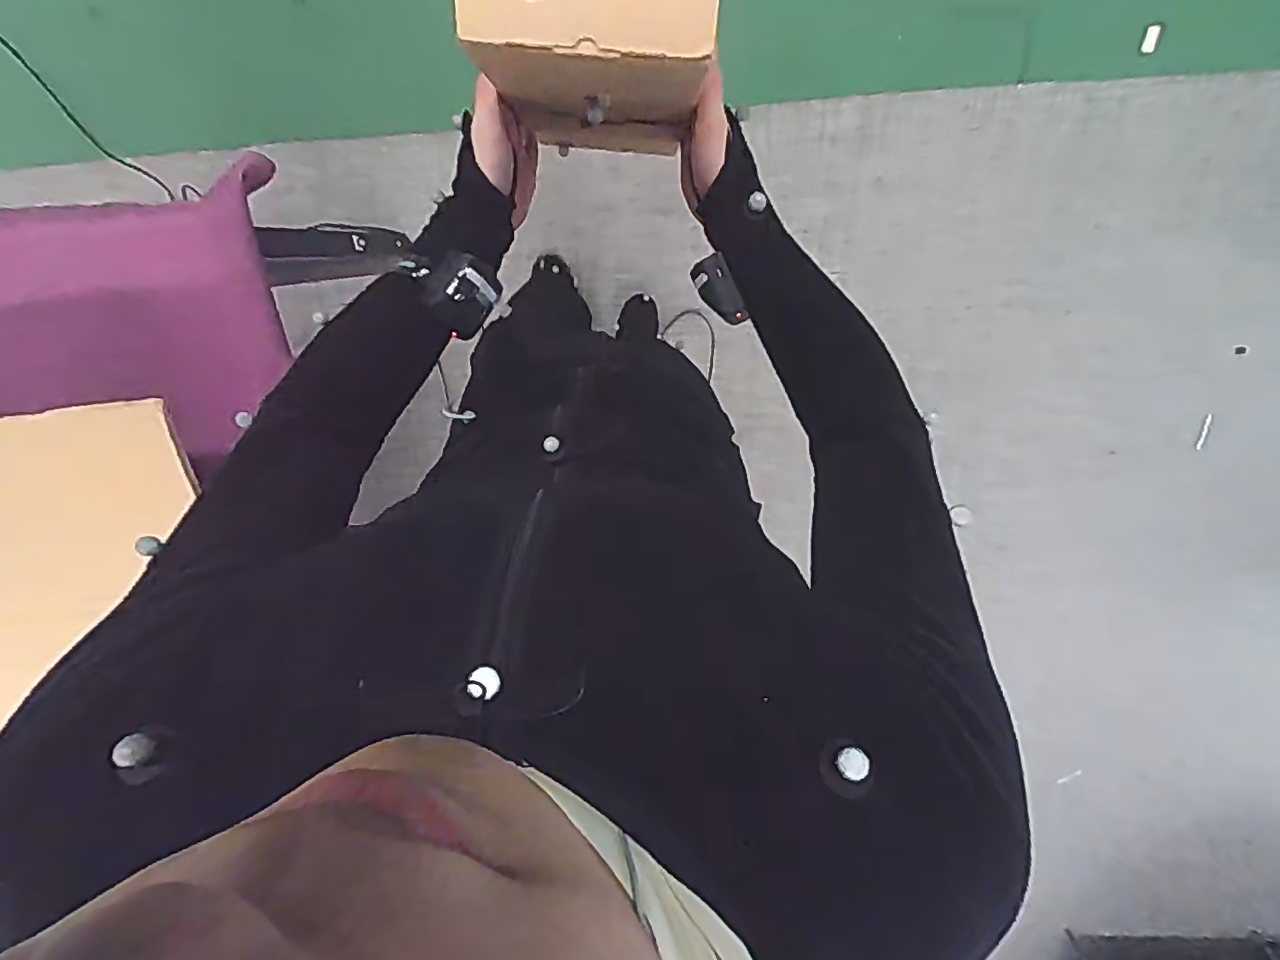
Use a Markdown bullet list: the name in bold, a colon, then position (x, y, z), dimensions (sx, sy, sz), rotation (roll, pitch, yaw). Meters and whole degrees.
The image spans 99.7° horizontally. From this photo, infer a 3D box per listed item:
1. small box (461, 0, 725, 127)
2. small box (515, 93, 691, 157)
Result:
- **small box**: position (-0.027, -0.381, 0.388), dimensions (0.168, 0.176, 0.179), rotation (3, 112, -2)
- **small box**: position (-0.028, -0.440, 0.541), dimensions (0.168, 0.176, 0.179), rotation (3, 111, -3)
